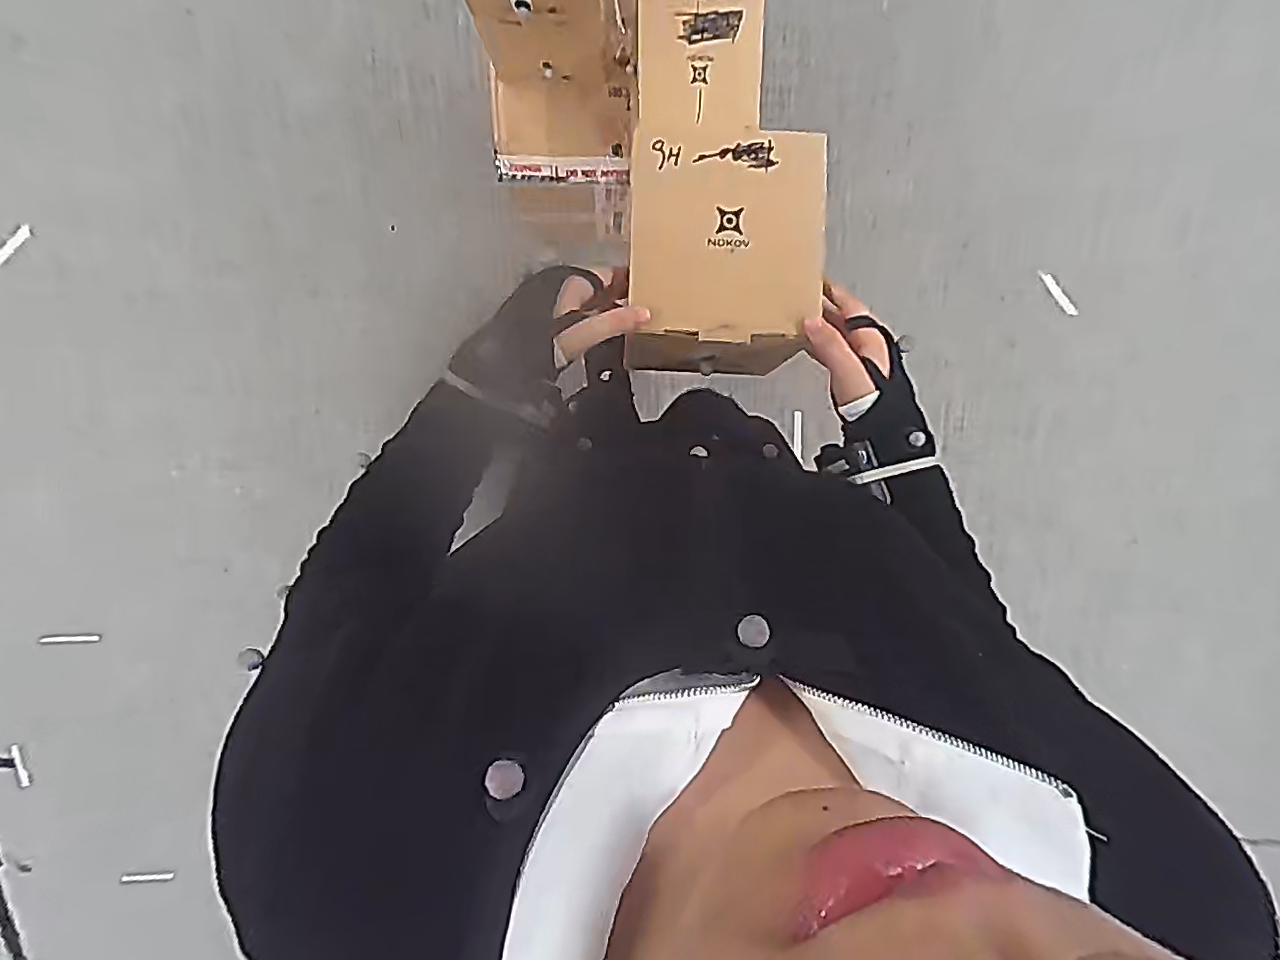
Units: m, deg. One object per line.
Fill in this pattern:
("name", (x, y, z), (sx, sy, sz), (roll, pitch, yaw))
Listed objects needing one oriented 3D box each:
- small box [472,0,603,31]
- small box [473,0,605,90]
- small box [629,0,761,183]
("small box", (-0.126, -0.643, 0.594), (0.168, 0.176, 0.179), (0, 104, -1))
("small box", (-0.134, -0.683, 0.751), (0.168, 0.176, 0.179), (-1, 104, -2))
("small box", (0.071, -0.559, 0.794), (0.168, 0.176, 0.179), (-1, 105, -4))
